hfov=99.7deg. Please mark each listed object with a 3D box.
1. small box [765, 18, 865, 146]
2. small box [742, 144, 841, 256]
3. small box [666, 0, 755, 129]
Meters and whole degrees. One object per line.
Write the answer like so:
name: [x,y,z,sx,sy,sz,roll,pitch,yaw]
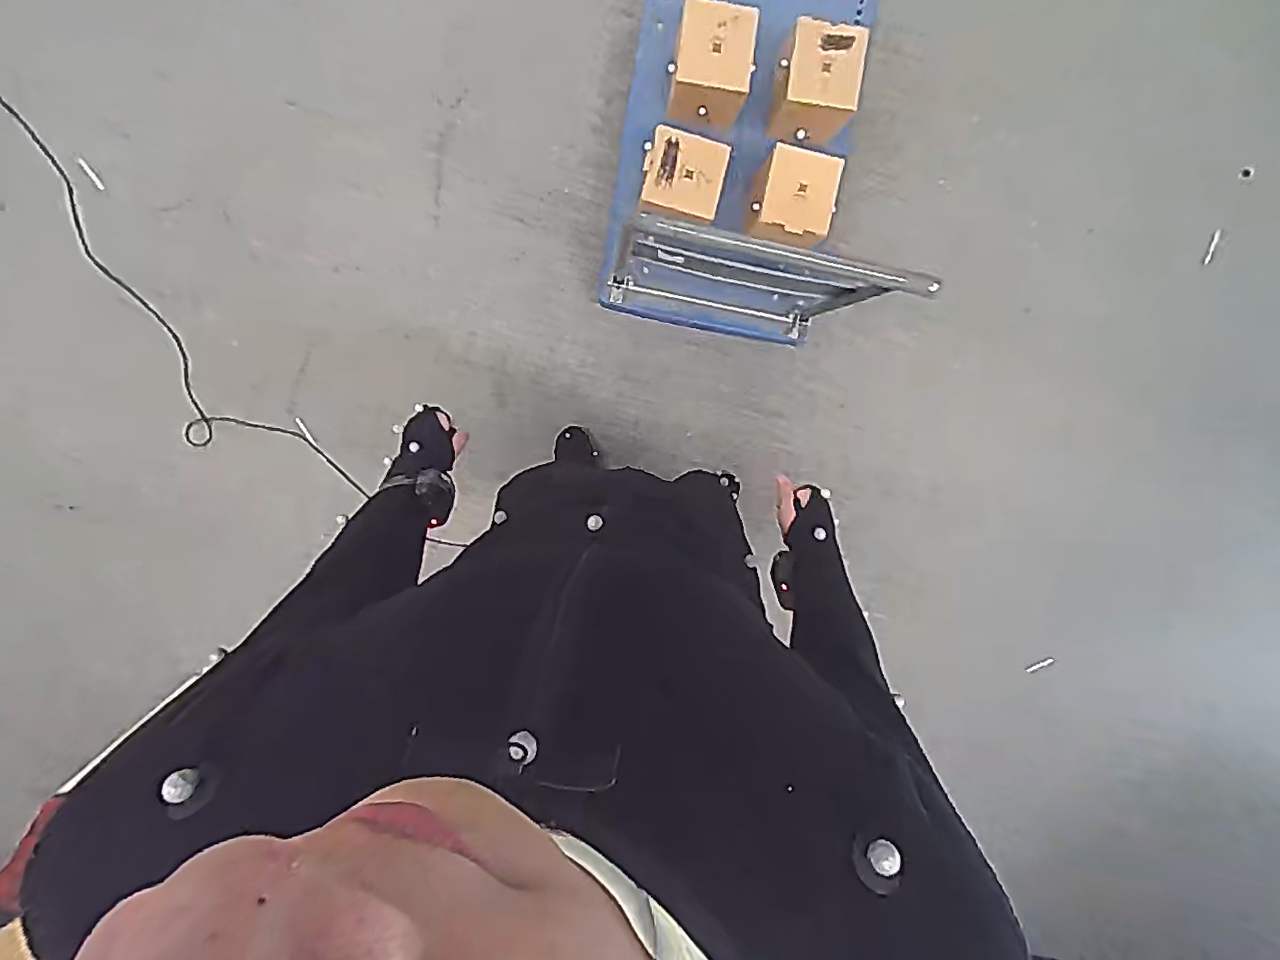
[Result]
small box: [0.408,-0.938,1.287,0.168,0.176,0.179,6,98,-4]
small box: [0.360,-0.673,1.320,0.168,0.176,0.179,11,97,-5]
small box: [0.157,-0.963,1.268,0.168,0.176,0.179,6,97,-6]
